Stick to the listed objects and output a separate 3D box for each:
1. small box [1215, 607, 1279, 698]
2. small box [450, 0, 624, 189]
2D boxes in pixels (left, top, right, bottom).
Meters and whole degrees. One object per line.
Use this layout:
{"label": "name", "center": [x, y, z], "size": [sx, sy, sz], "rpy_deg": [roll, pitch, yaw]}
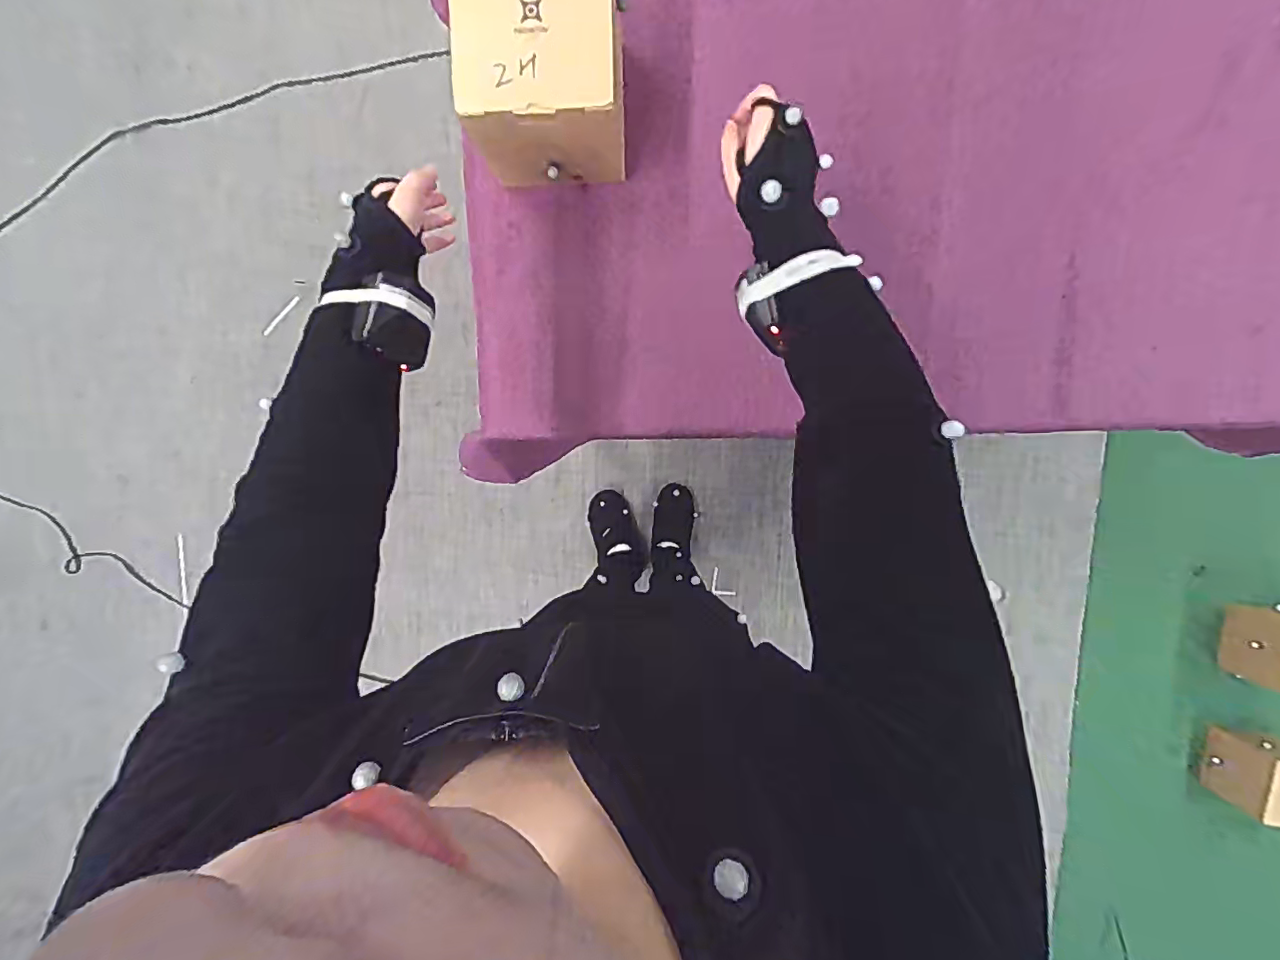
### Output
{"label": "small box", "center": [1.616, 0.435, 1.356], "size": [0.168, 0.176, 0.179], "rpy_deg": [4, 94, 2]}
{"label": "small box", "center": [-0.107, -0.465, 0.624], "size": [0.168, 0.176, 0.179], "rpy_deg": [0, 95, 3]}
